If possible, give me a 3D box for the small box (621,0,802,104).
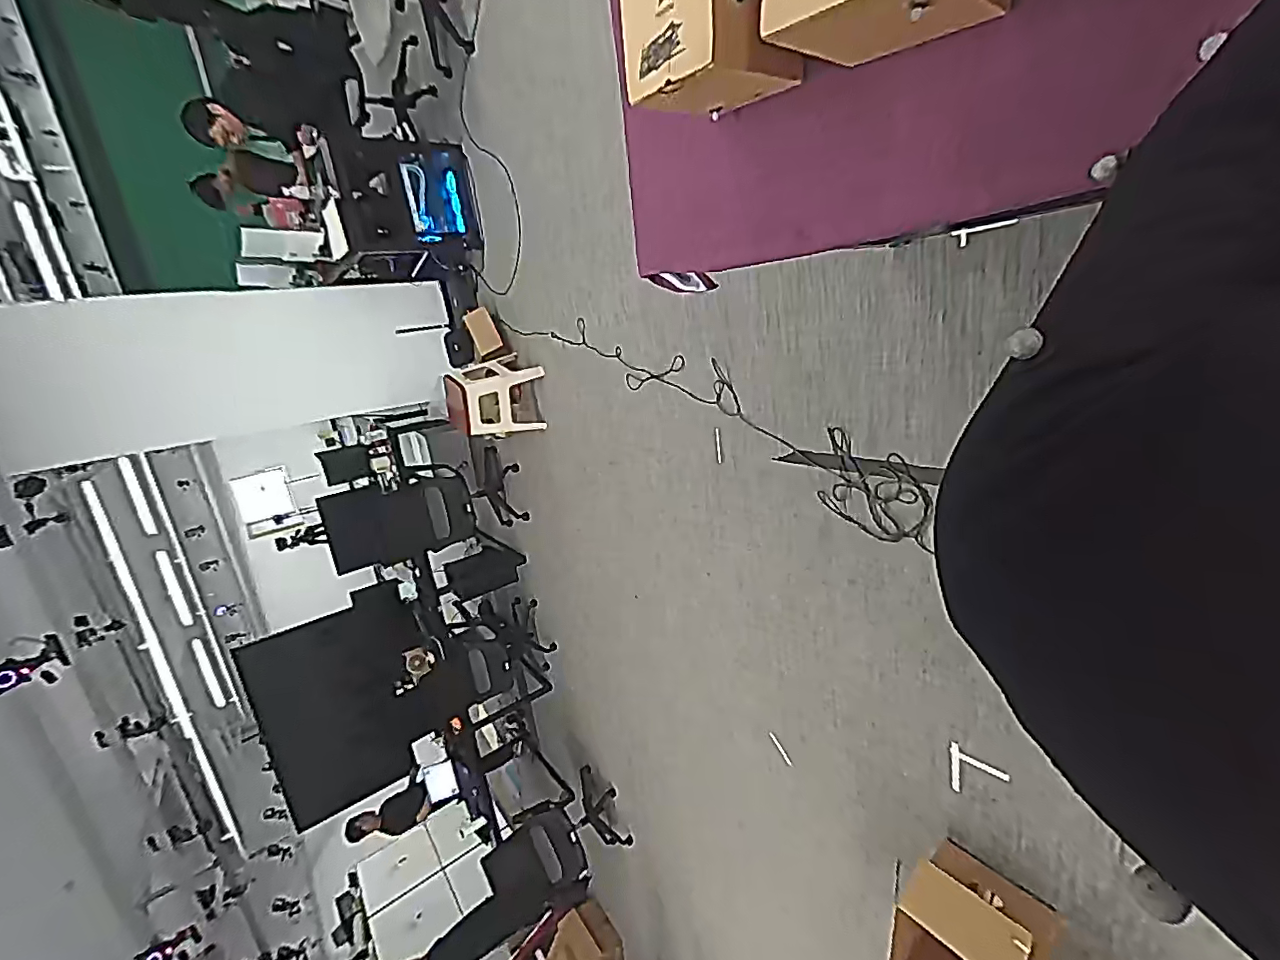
[{"bbox_3d":[0.092,-0.600,0.687,0.168,0.176,0.179,21,123,49],"label":"small box"}]
